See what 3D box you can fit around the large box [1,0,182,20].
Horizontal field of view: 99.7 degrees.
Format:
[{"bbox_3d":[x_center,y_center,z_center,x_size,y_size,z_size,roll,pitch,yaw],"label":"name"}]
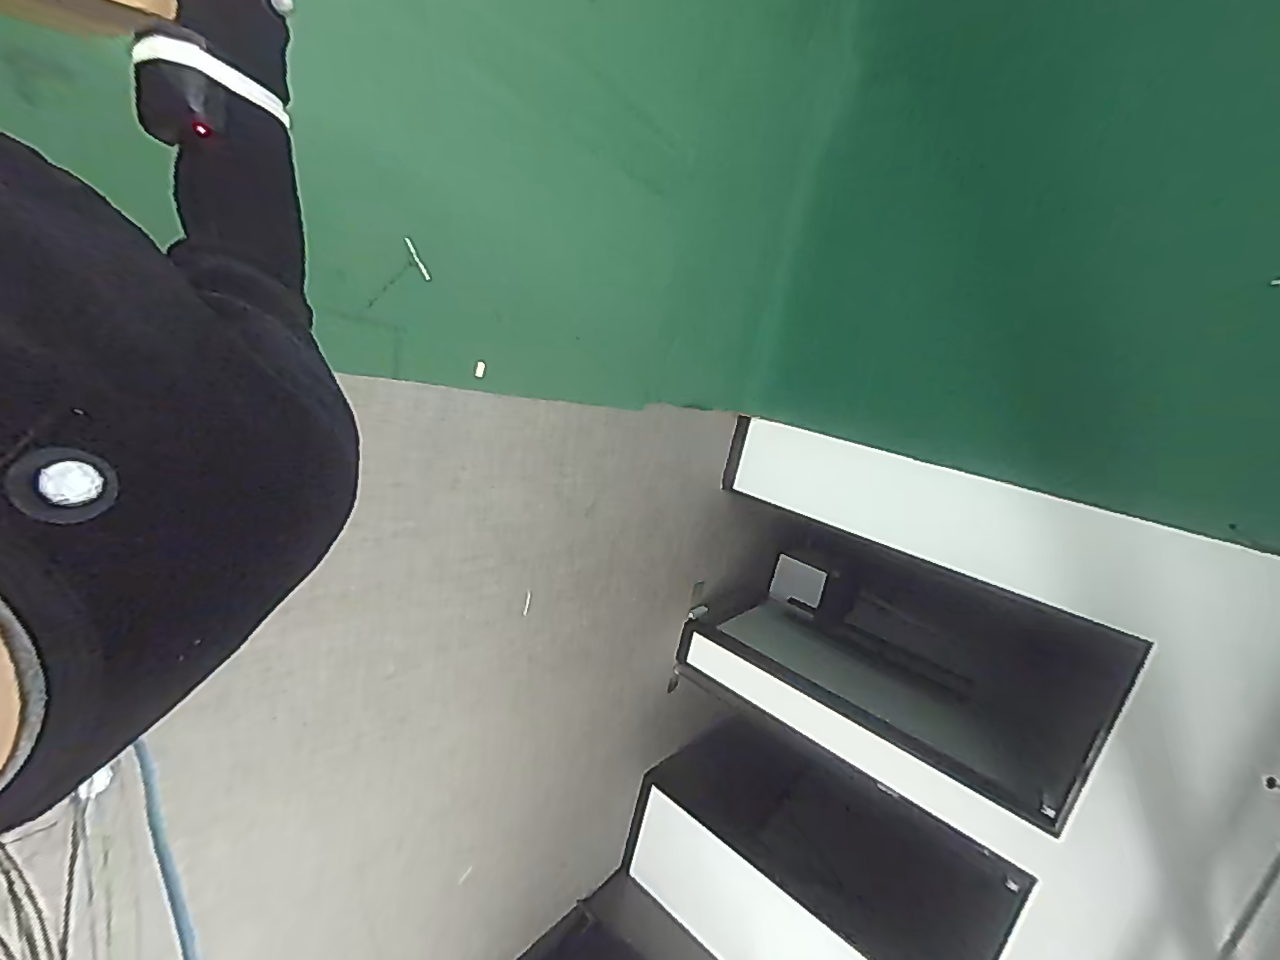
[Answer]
[{"bbox_3d":[-0.555,-0.508,0.279,0.408,0.320,0.320,-19,127,-52],"label":"large box"}]
